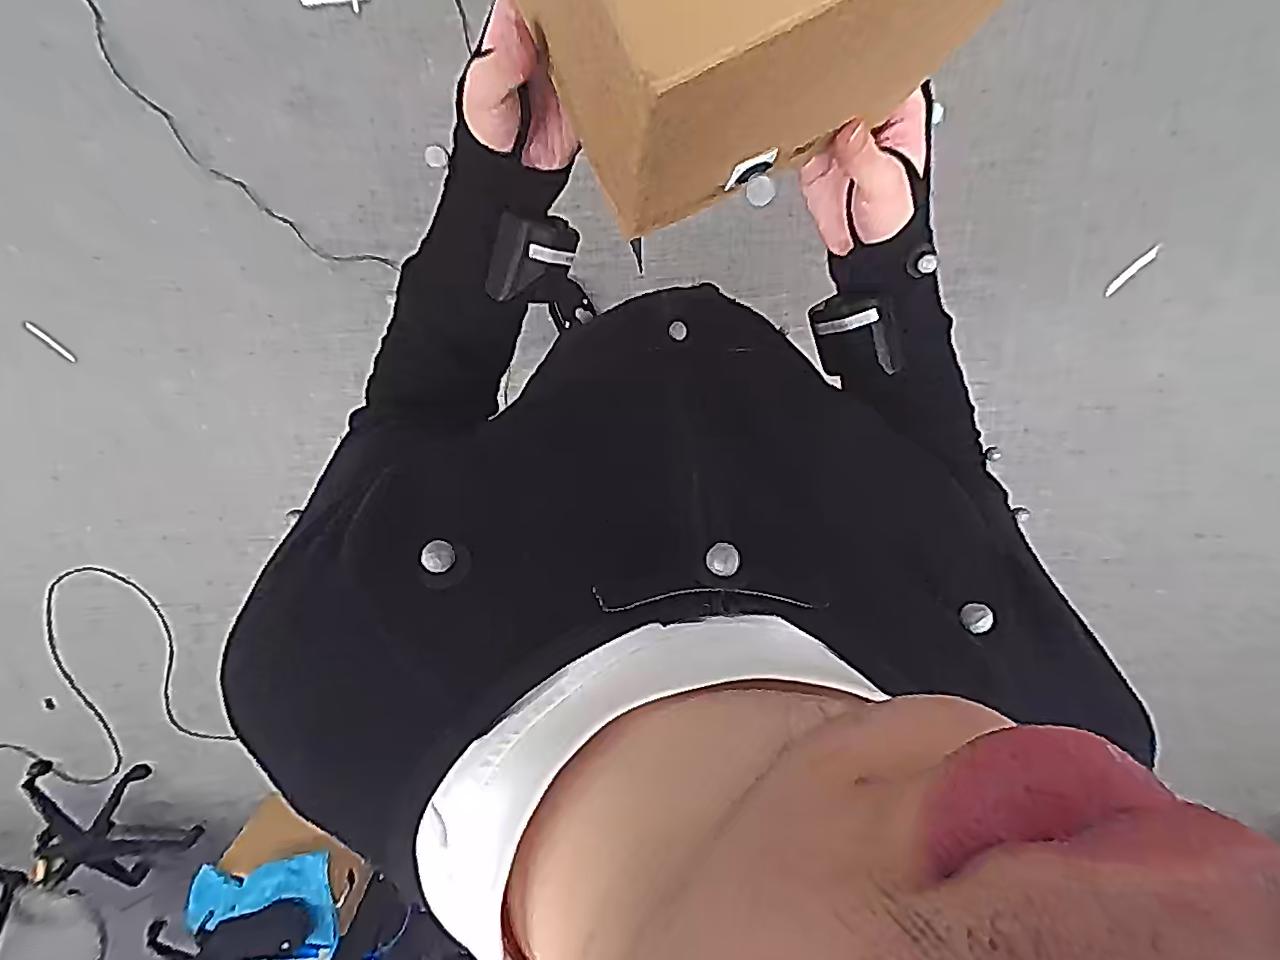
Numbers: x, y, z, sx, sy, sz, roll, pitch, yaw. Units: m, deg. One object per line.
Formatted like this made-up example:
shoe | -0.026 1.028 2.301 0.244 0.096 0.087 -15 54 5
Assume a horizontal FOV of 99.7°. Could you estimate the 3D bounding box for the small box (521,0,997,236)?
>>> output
small box | 0.035 -0.239 0.229 0.168 0.176 0.179 -27 100 2
